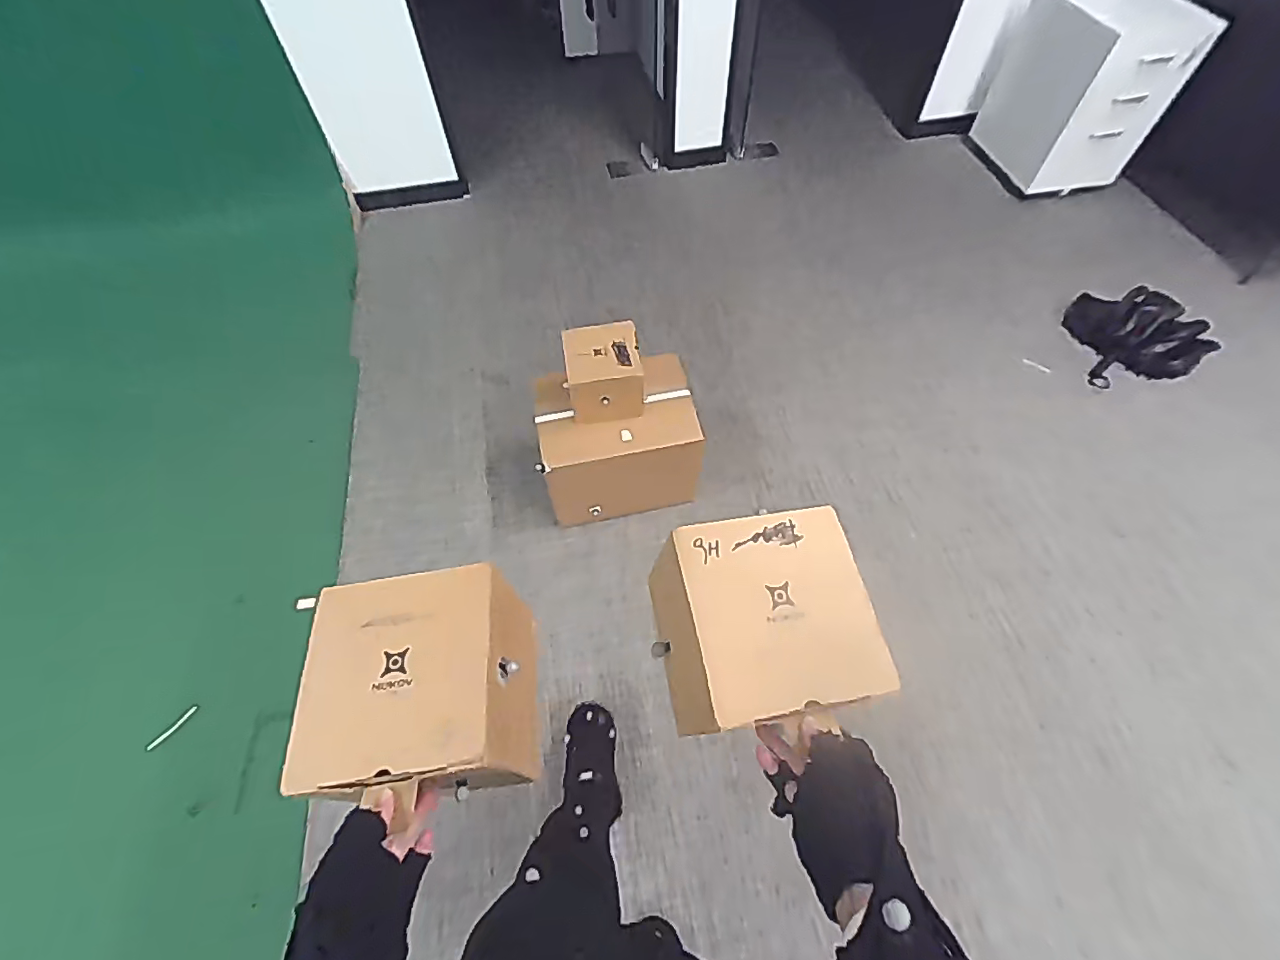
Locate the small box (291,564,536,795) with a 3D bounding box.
[{"bbox_3d":[-0.206,0.209,0.548,0.168,0.176,0.179,-10,56,0],"label":"small box"}]

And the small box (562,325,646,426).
[{"bbox_3d":[-0.088,-0.253,1.334,0.179,0.176,0.168,-11,65,-6],"label":"small box"}]
